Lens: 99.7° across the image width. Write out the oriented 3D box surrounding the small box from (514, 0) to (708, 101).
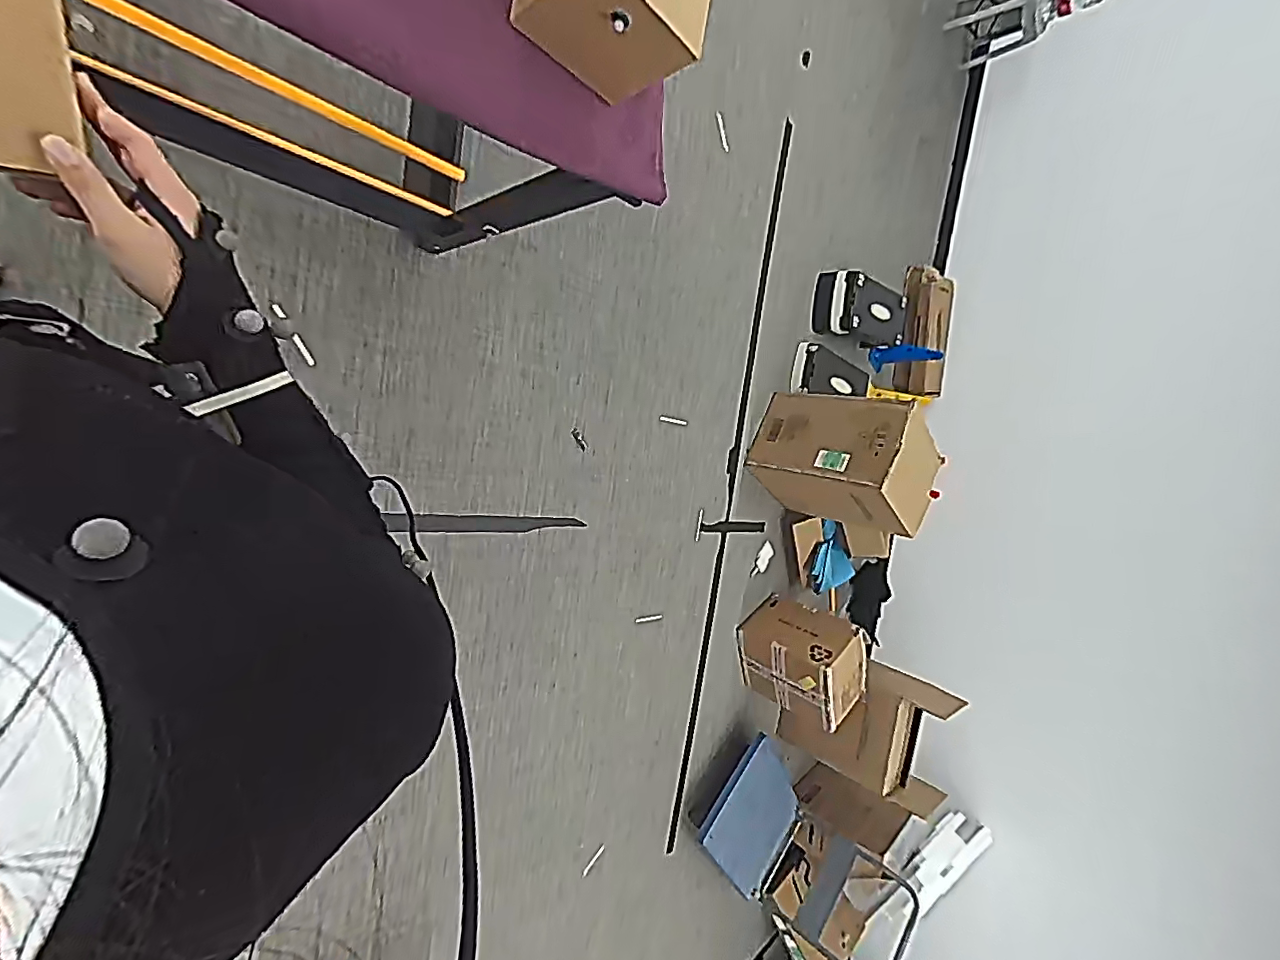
[{"bbox_3d":[-0.032,-0.615,0.666,0.179,0.176,0.168,8,92,-46],"label":"small box"}]
